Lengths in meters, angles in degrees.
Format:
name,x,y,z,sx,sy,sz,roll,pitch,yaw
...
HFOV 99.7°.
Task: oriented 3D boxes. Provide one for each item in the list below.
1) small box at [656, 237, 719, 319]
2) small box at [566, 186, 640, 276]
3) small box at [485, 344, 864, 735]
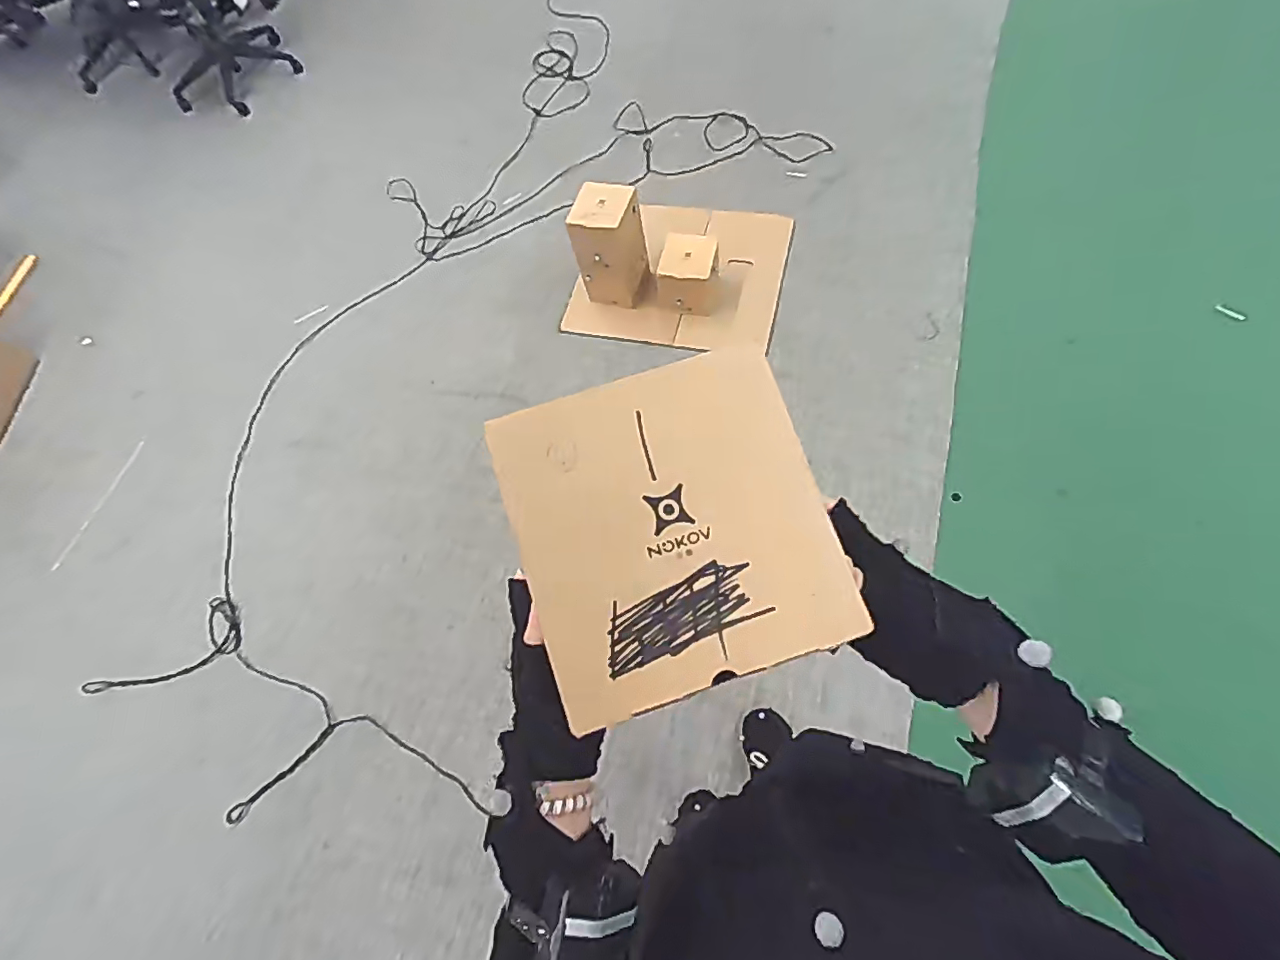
name,x,y,z,sx,sy,sz,roll,pitch,yaw
small box,0.156,-0.652,1.748,0.168,0.176,0.179,10,69,12
small box,-0.104,-0.759,1.649,0.168,0.176,0.179,14,69,15
small box,0.017,0.039,0.370,0.168,0.176,0.179,-18,81,-3
